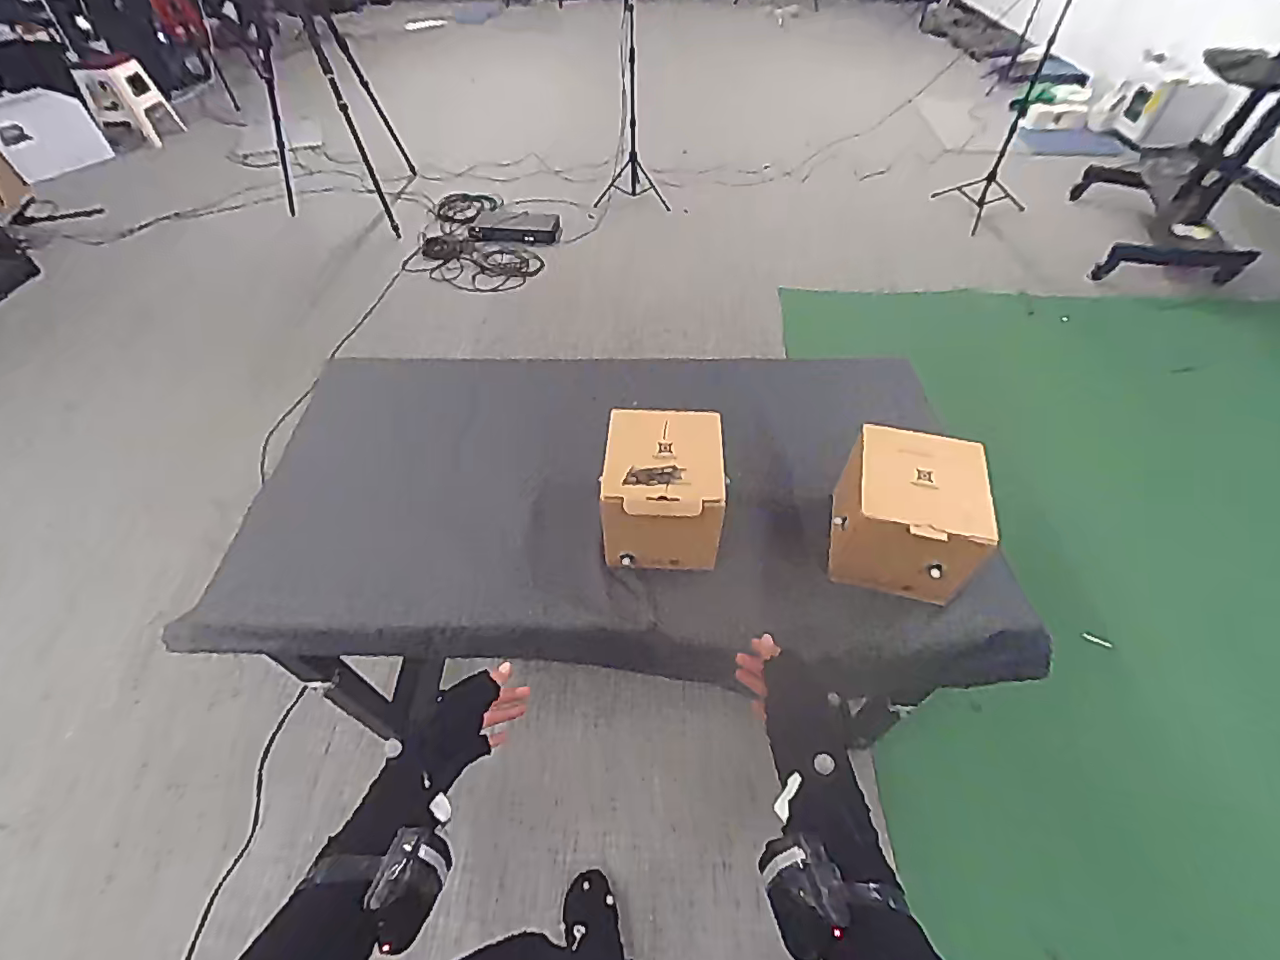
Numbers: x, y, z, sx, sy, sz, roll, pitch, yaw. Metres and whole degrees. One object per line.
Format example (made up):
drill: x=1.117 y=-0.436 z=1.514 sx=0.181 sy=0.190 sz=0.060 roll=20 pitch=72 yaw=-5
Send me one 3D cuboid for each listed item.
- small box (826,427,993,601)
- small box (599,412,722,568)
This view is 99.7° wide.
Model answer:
small box: x=0.377 y=0.052 z=0.788 sx=0.168 sy=0.176 sz=0.179 roll=11 pitch=49 yaw=9
small box: x=0.033 y=0.018 z=0.819 sx=0.168 sy=0.176 sz=0.179 roll=2 pitch=49 yaw=2
